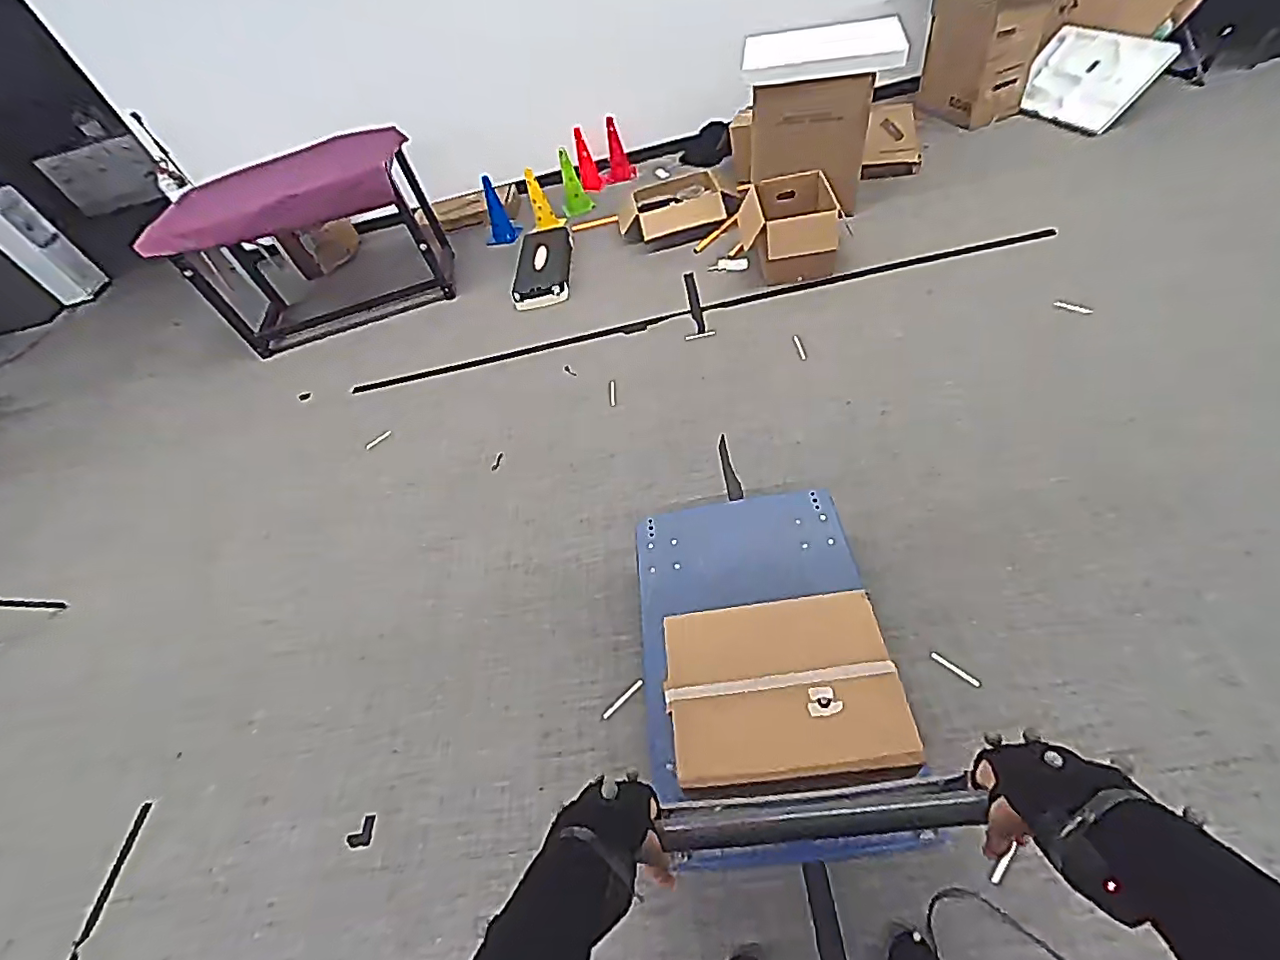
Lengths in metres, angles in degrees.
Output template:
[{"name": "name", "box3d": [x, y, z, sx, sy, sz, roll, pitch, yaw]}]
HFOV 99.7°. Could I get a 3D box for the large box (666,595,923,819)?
[{"name": "large box", "box3d": [0.283, 0.471, 1.104, 0.408, 0.320, 0.320, -10, 51, 5]}]
